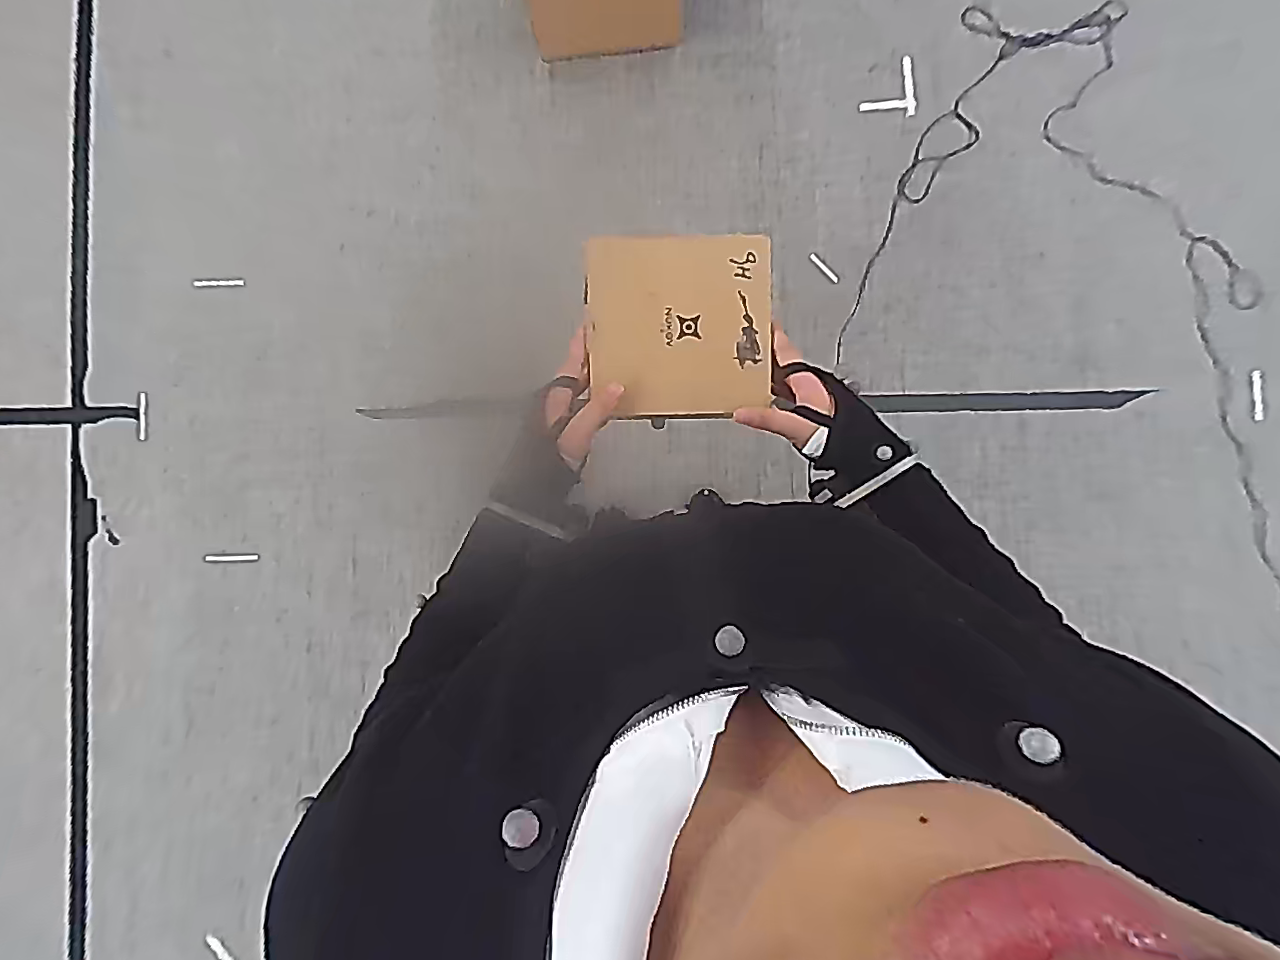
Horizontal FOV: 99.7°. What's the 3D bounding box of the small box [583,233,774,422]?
[{"bbox_3d":[0.034,-0.148,0.577,0.179,0.176,0.168,-1,94,-2],"label":"small box"}]
